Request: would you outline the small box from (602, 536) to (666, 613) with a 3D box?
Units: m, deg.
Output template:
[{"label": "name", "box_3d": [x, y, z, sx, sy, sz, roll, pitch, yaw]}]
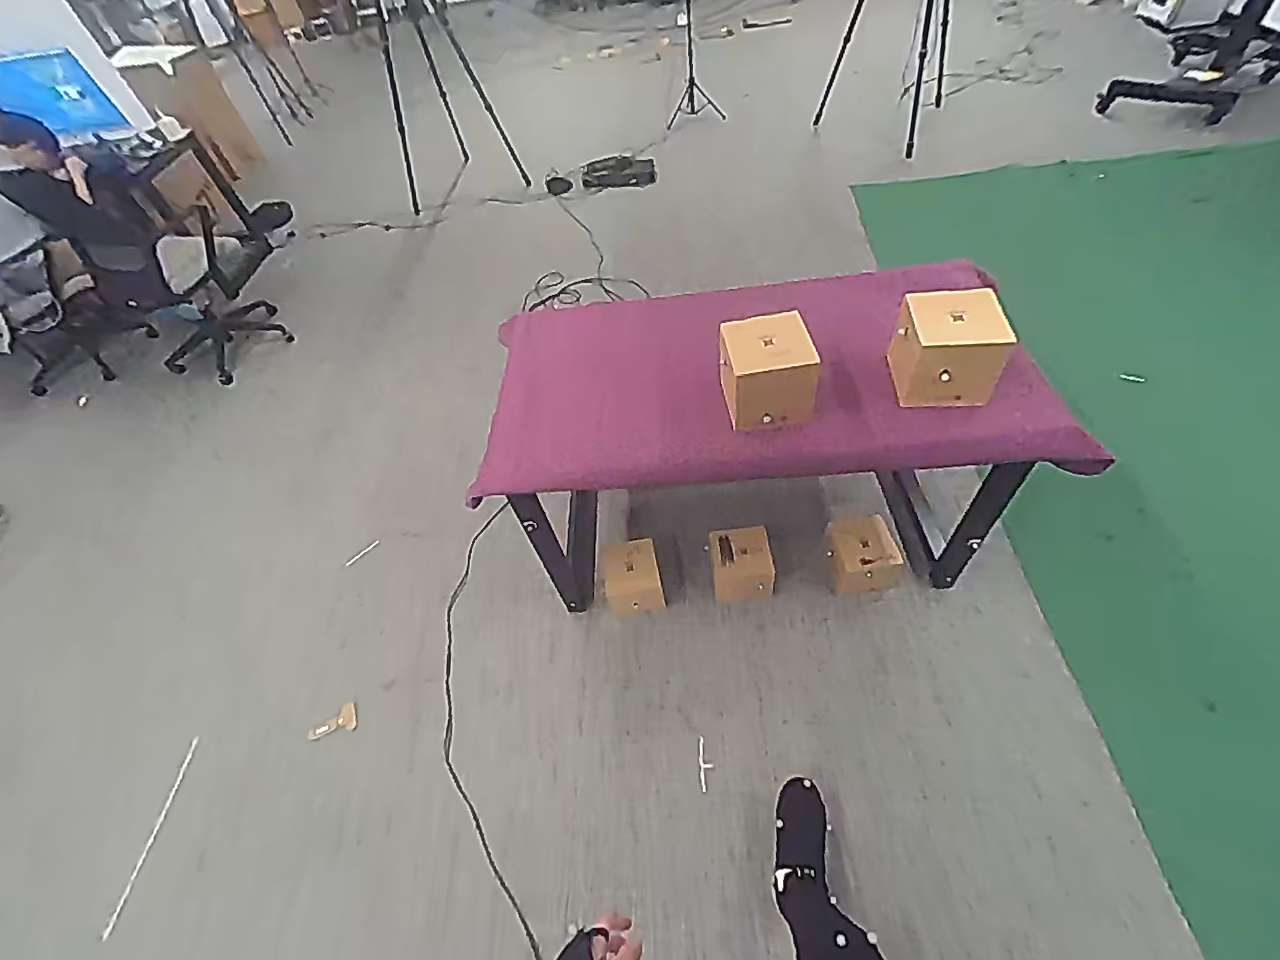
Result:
[{"label": "small box", "box_3d": [-0.018, 0.302, 1.690, 0.168, 0.176, 0.179, -11, 51, 1]}]

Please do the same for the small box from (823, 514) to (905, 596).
[{"label": "small box", "box_3d": [0.668, 0.229, 1.638, 0.168, 0.176, 0.179, -9, 51, 2]}]

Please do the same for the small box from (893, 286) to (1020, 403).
[{"label": "small box", "box_3d": [0.633, -0.271, 1.107, 0.168, 0.176, 0.179, 0, 51, 11]}]

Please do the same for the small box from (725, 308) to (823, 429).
[{"label": "small box", "box_3d": [0.270, -0.232, 1.135, 0.168, 0.176, 0.179, -8, 51, 4]}]
